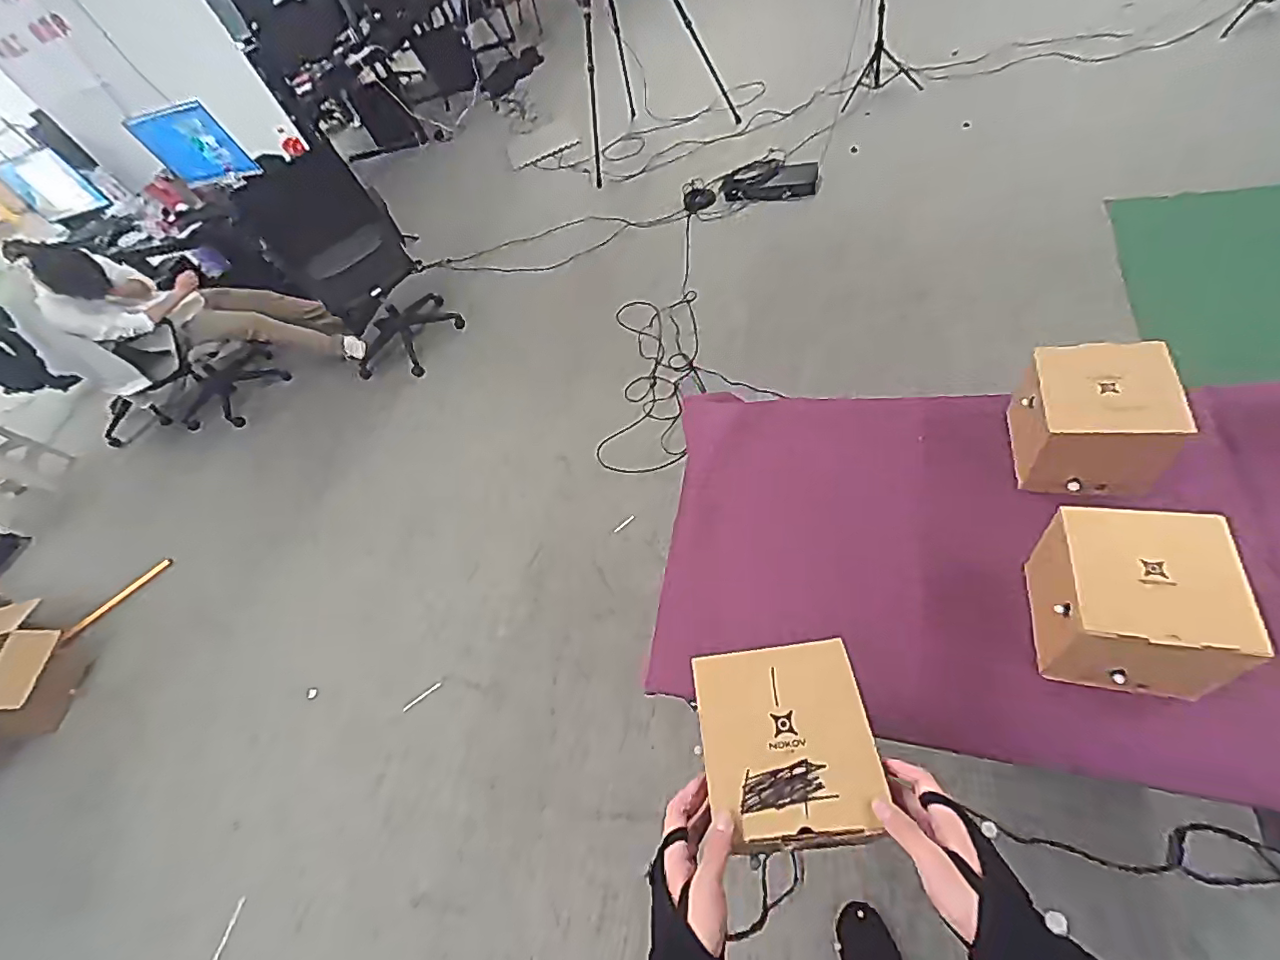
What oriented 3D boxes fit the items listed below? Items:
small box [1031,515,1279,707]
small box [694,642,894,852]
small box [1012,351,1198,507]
[{"bbox_3d":[0.627,0.167,0.693,0.168,0.176,0.179,3,55,21],"label":"small box"},{"bbox_3d":[0.158,0.301,0.598,0.168,0.176,0.179,-9,51,6],"label":"small box"},{"bbox_3d":[0.706,-0.080,0.848,0.168,0.176,0.179,3,58,22],"label":"small box"}]
